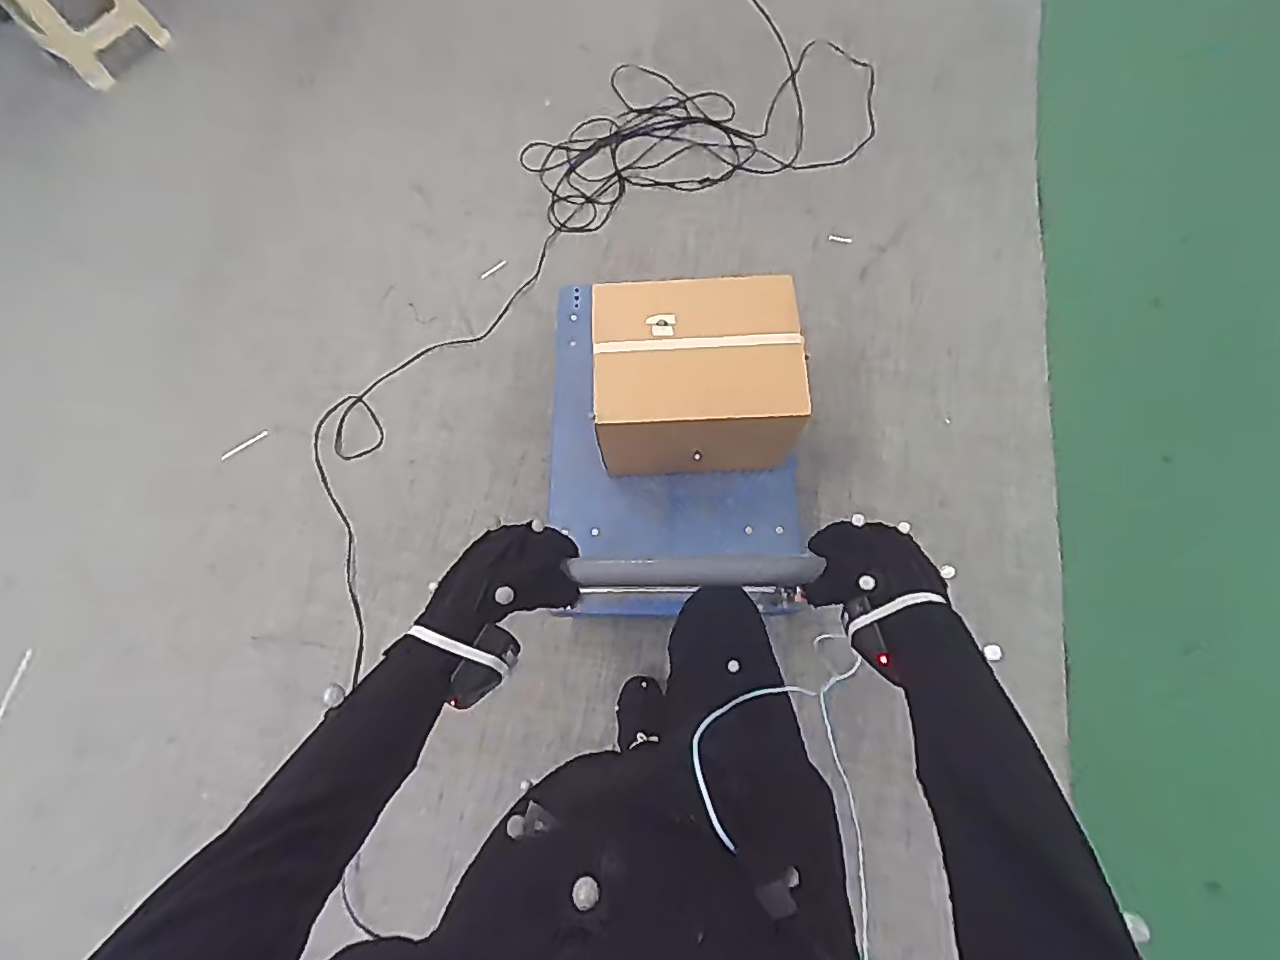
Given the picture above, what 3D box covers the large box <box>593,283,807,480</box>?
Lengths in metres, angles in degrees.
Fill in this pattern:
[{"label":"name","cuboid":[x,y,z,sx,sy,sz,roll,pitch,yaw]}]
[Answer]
[{"label":"large box","cuboid":[0.118,-0.198,1.202,0.408,0.320,0.320,-3,71,3]}]
